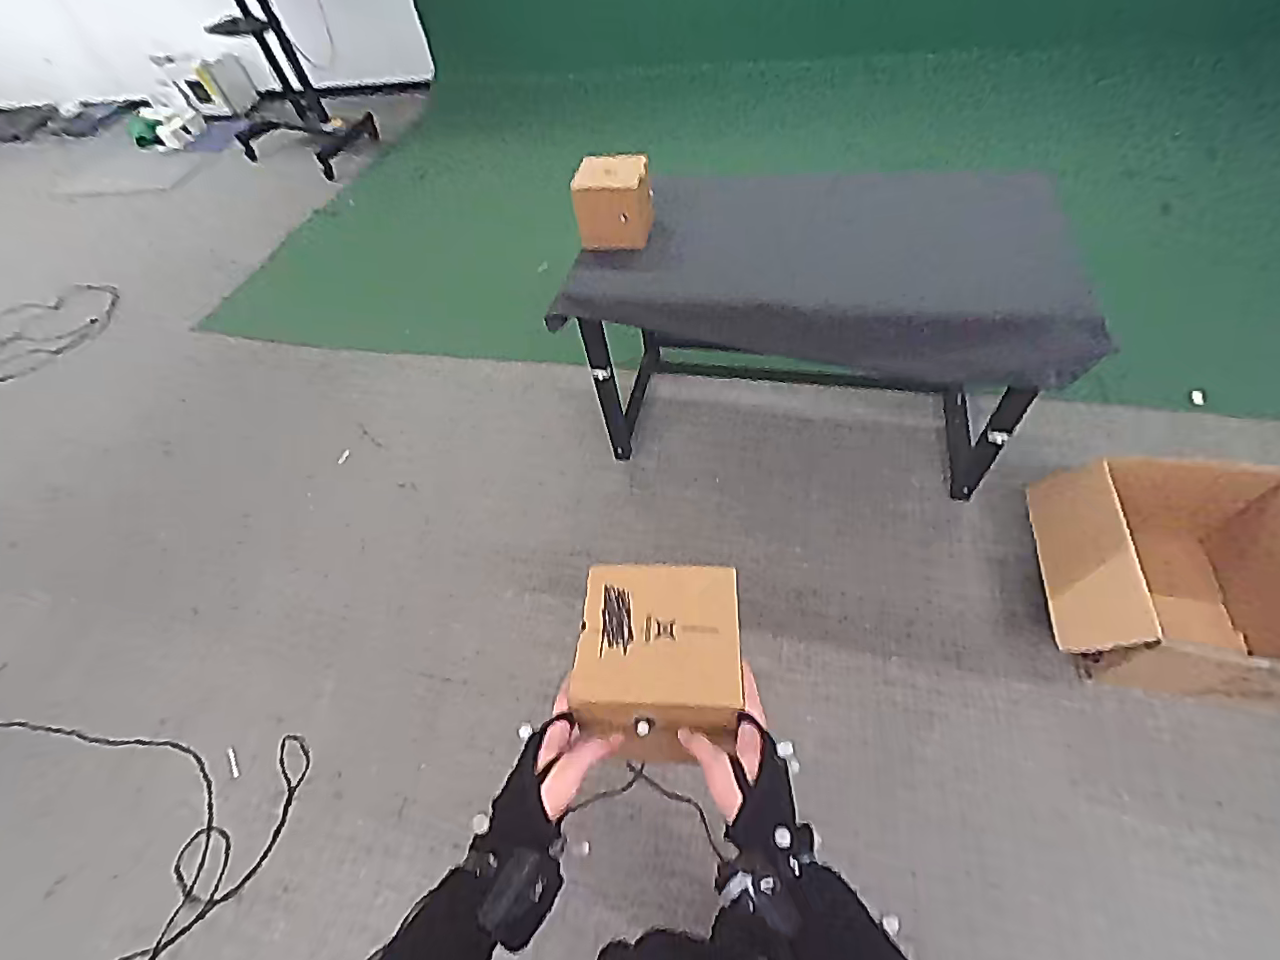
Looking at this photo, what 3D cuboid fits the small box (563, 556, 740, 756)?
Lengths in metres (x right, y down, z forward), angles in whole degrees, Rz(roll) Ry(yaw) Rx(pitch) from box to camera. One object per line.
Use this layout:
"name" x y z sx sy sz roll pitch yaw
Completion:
"small box" 0.026 0.207 0.636 0.179 0.176 0.168 2 47 9

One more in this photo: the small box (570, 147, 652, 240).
"small box" -0.068 -0.762 1.446 0.179 0.176 0.168 4 55 12
